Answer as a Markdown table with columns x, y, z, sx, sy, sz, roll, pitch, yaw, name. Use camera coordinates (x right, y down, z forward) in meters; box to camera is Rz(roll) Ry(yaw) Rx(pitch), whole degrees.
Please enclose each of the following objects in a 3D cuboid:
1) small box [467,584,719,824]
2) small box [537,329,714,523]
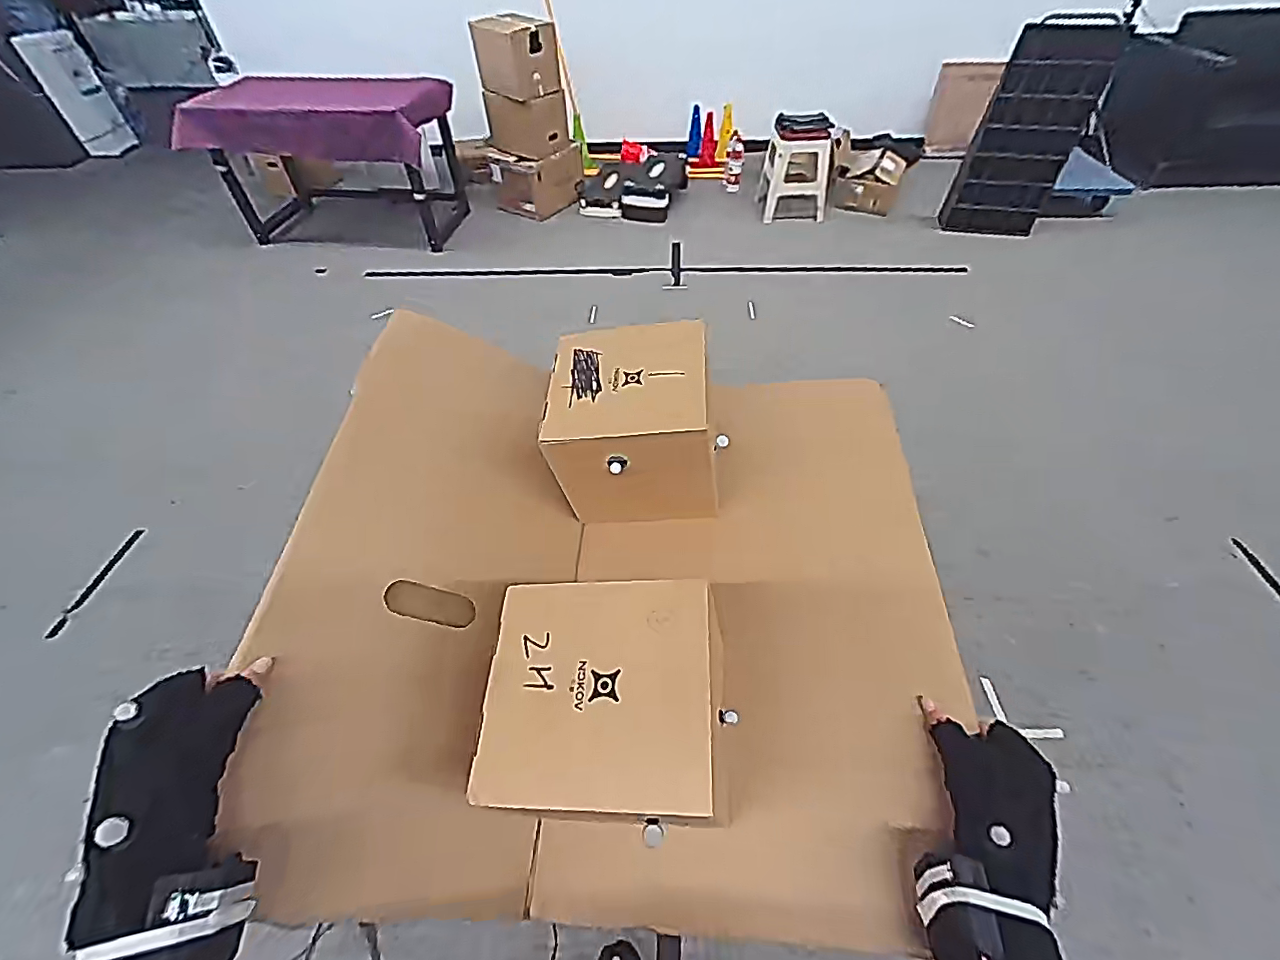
| x | y | z | sx | sy | sz | roll | pitch | yaw | name |
| --- | --- | --- | --- | --- | --- | --- | --- | --- | --- |
| -0.021 | 0.202 | 0.482 | 0.179 | 0.176 | 0.168 | -3 | 55 | 11 | small box |
| -0.005 | -0.058 | 0.661 | 0.179 | 0.176 | 0.168 | -3 | 55 | 10 | small box |
